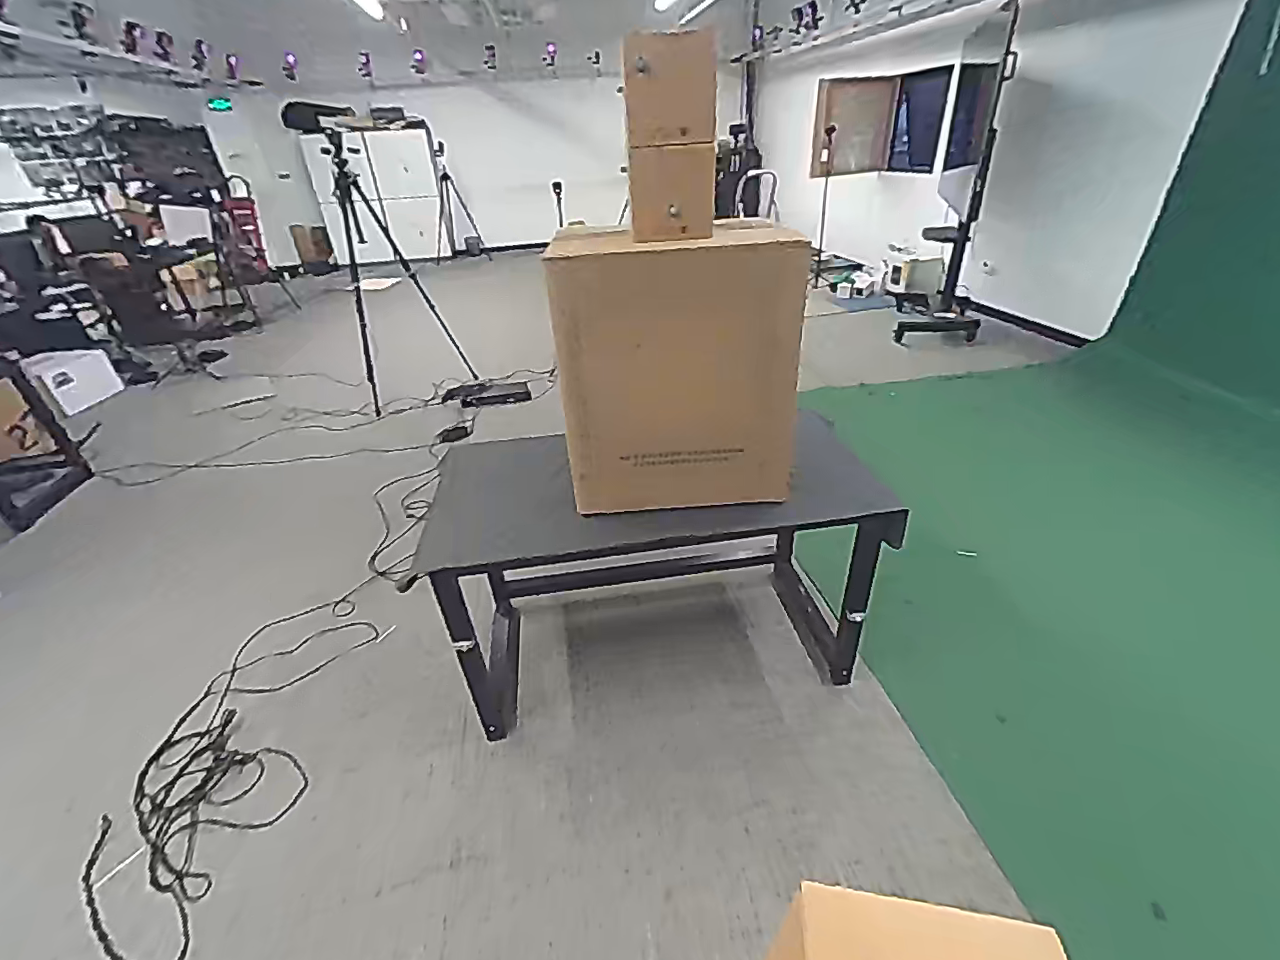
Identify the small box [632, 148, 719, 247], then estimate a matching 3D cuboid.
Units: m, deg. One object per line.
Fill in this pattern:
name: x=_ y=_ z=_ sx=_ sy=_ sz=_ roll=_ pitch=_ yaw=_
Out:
small box: x=0.068 y=-0.594 z=1.137 sx=0.168 sy=0.176 sz=0.179 roll=-4 pitch=34 yaw=-1
